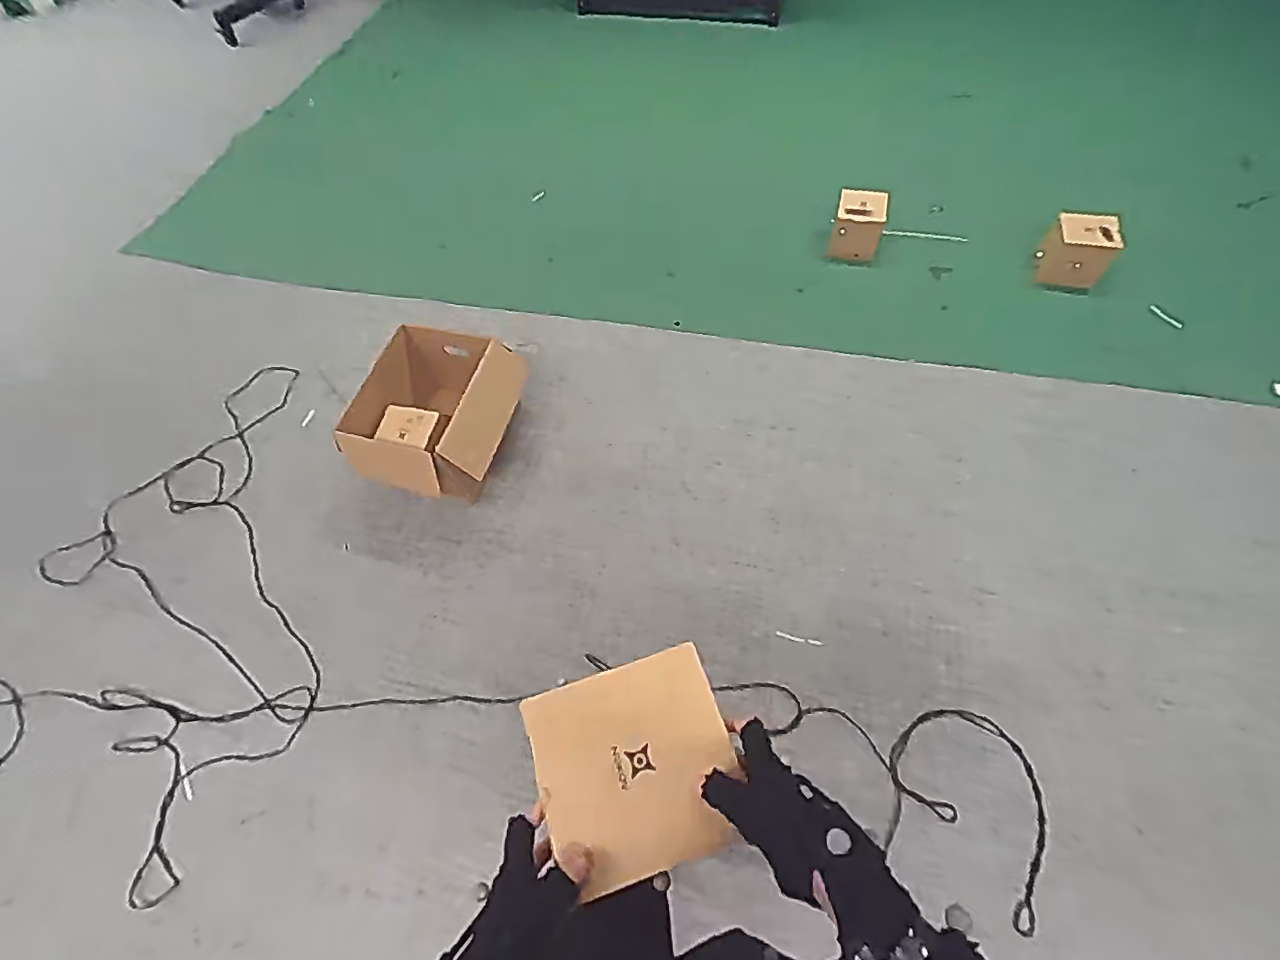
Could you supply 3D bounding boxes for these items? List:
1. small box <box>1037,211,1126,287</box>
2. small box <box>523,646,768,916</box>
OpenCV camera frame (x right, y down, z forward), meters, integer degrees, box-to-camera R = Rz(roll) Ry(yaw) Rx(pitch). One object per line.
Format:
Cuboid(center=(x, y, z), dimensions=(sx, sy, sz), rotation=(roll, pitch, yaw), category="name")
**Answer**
Cuboid(center=(1.512, -0.791, 1.861), dimensions=(0.179, 0.176, 0.168), rotation=(11, 62, 11), category="small box")
Cuboid(center=(0.002, 0.284, 0.536), dimensions=(0.179, 0.176, 0.168), rotation=(-18, 62, -6), category="small box")
